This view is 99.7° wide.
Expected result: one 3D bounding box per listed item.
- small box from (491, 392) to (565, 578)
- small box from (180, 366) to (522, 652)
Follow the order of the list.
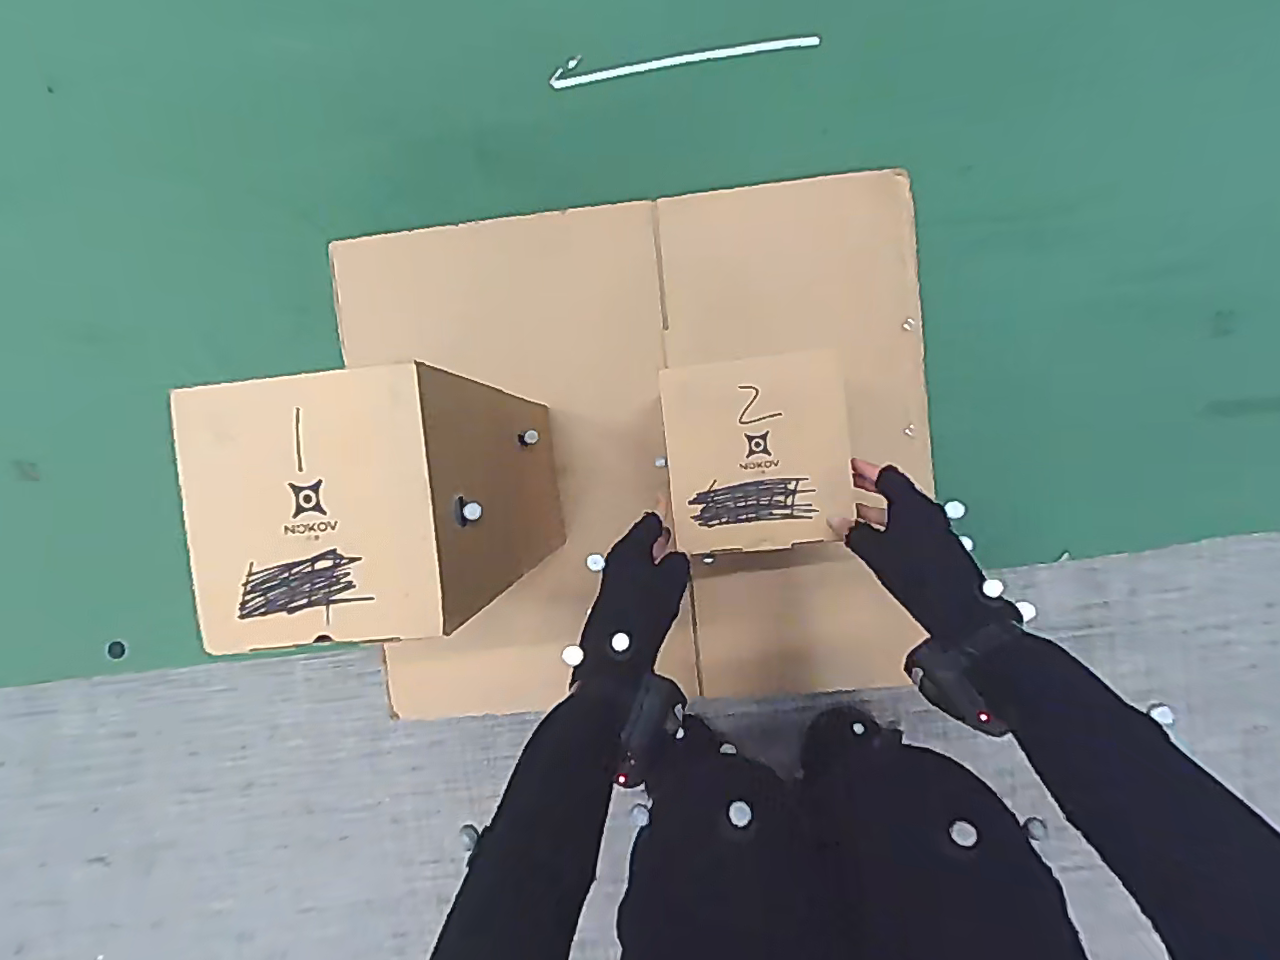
[{"bbox_3d":[-0.186,0.010,0.586,0.168,0.176,0.179,-7,93,5],"label":"small box"},{"bbox_3d":[-0.200,0.017,0.422,0.168,0.176,0.179,-5,92,5],"label":"small box"}]
